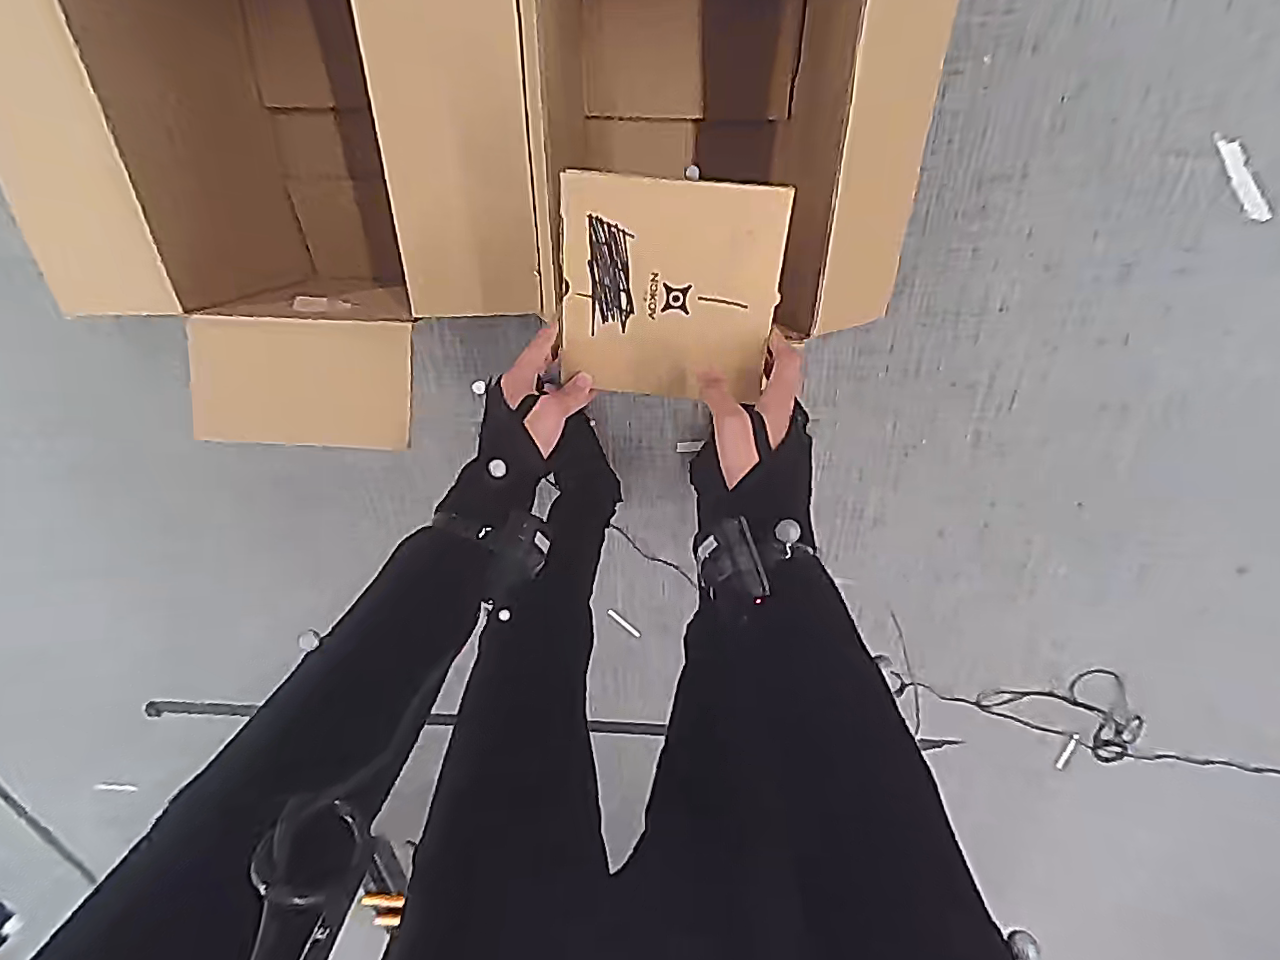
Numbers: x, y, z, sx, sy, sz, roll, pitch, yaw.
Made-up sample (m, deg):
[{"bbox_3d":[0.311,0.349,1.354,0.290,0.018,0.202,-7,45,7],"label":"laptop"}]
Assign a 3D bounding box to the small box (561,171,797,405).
[{"bbox_3d":[0.032,-0.180,0.504,0.179,0.176,0.168,6,116,4],"label":"small box"}]
